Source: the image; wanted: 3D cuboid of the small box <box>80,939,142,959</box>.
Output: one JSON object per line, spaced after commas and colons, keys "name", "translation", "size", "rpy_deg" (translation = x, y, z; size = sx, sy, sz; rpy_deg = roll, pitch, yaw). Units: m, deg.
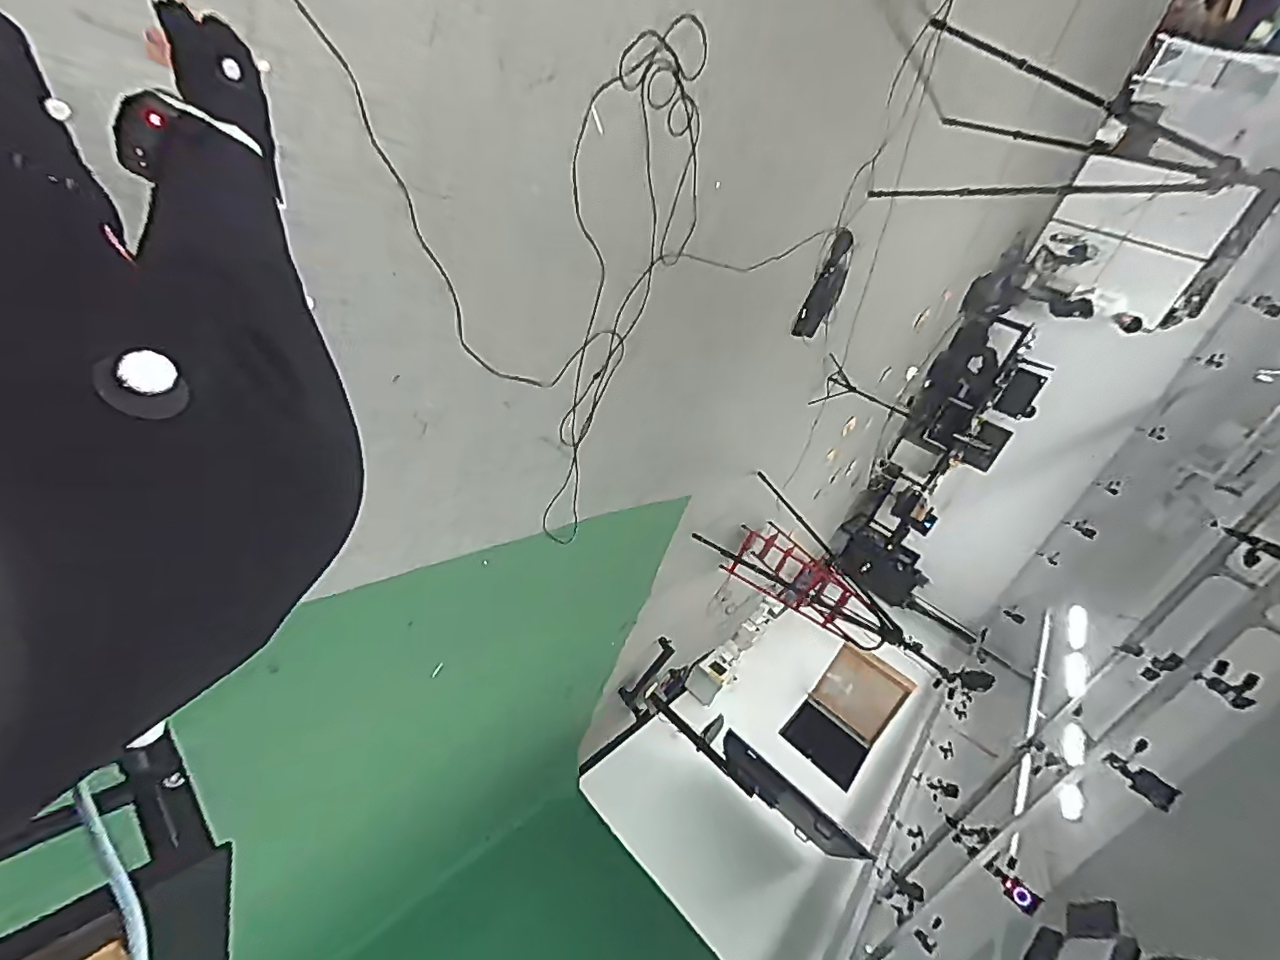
{"name": "small box", "translation": [-0.979, 0.972, 0.953], "size": [0.168, 0.176, 0.179], "rpy_deg": [-21, 137, -44]}
